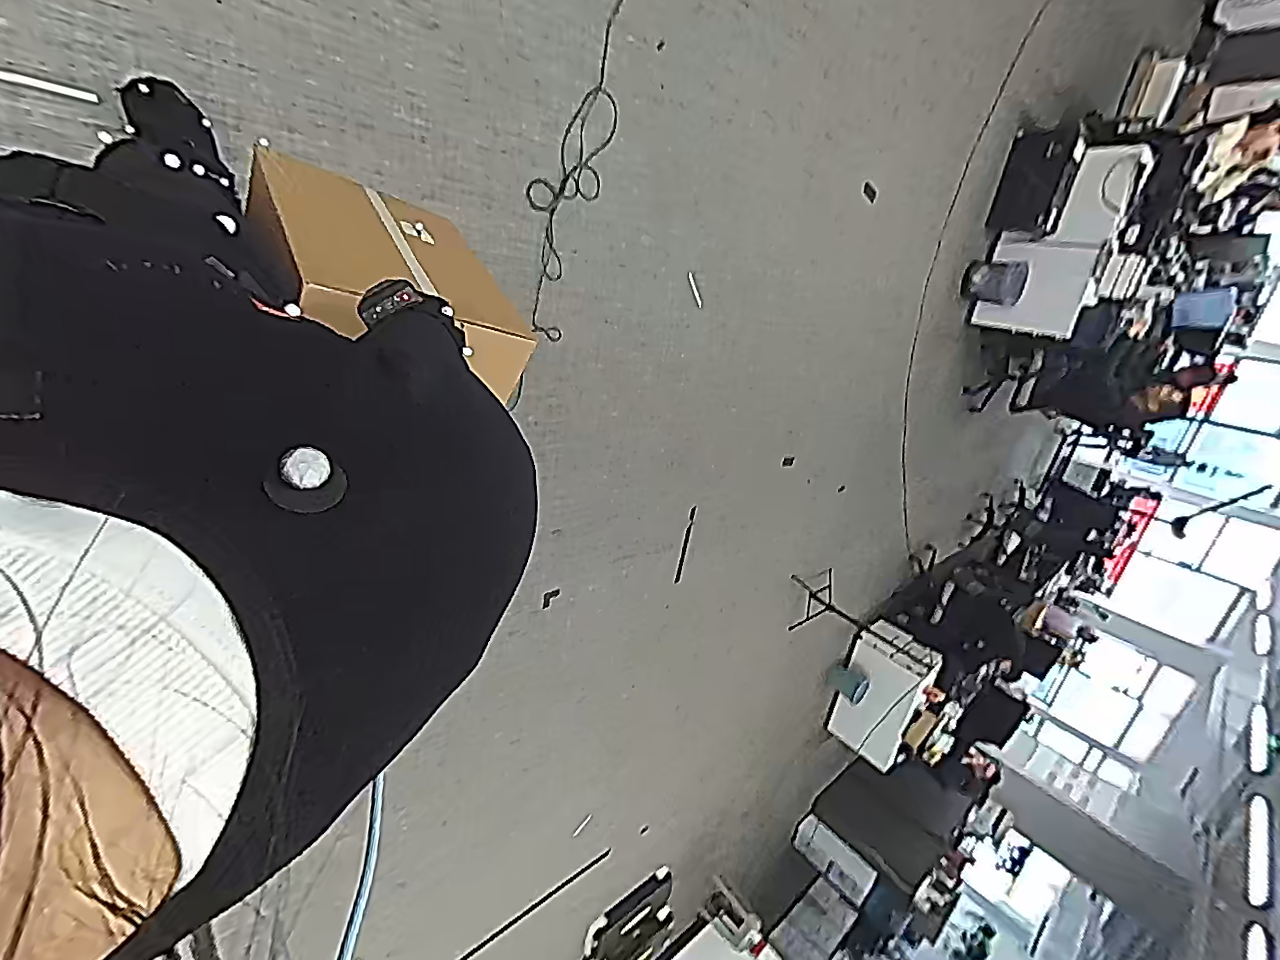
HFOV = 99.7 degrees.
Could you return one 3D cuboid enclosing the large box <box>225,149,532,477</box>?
[{"bbox_3d":[-0.446,-0.248,0.886,0.320,0.408,0.320,2,132,-47],"label":"large box"}]
